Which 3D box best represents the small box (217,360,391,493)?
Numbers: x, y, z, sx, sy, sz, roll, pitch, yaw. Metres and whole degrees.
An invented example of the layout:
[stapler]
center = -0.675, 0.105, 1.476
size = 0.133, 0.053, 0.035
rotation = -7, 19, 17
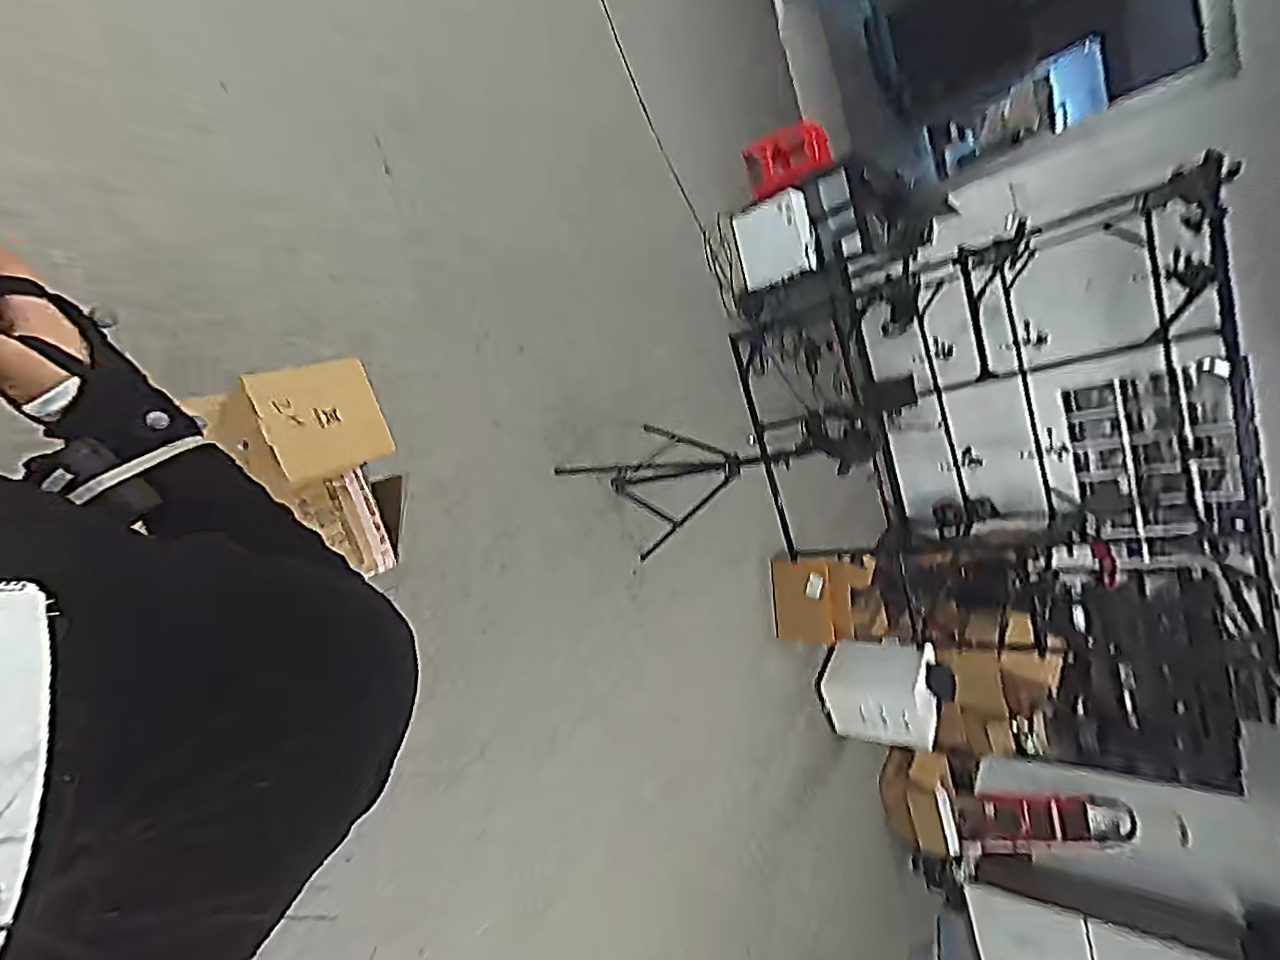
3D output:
[small box]
center = -0.556, -0.087, 0.896
size = 0.179, 0.176, 0.168
rotation = -27, 101, -46
